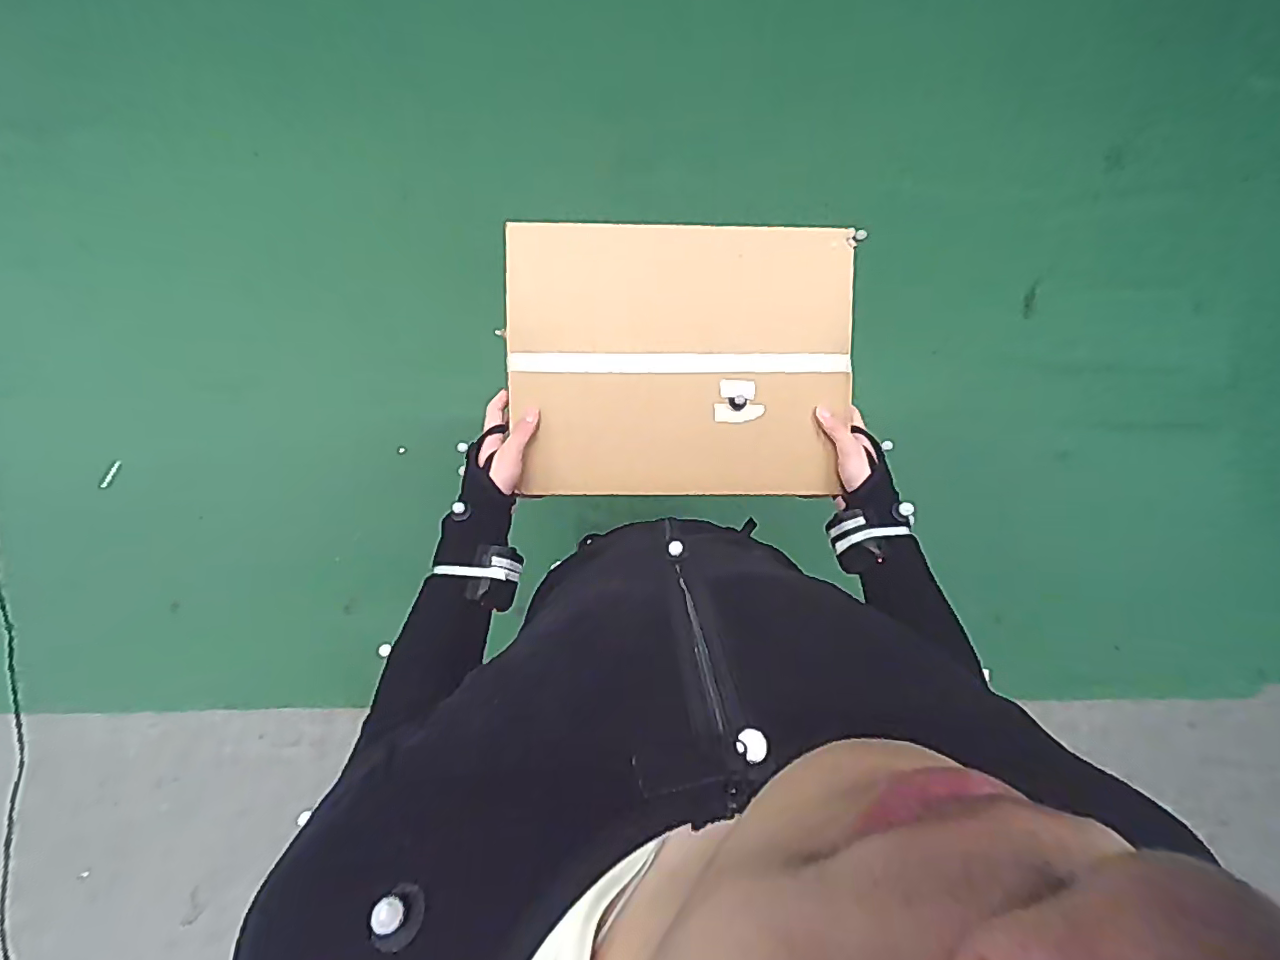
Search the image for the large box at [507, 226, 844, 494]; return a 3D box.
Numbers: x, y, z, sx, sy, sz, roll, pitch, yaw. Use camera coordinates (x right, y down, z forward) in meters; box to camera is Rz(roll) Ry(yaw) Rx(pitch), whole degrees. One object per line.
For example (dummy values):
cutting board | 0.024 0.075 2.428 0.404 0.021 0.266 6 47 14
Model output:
large box | 0.038 -0.154 0.791 0.408 0.320 0.320 -1 95 -3
